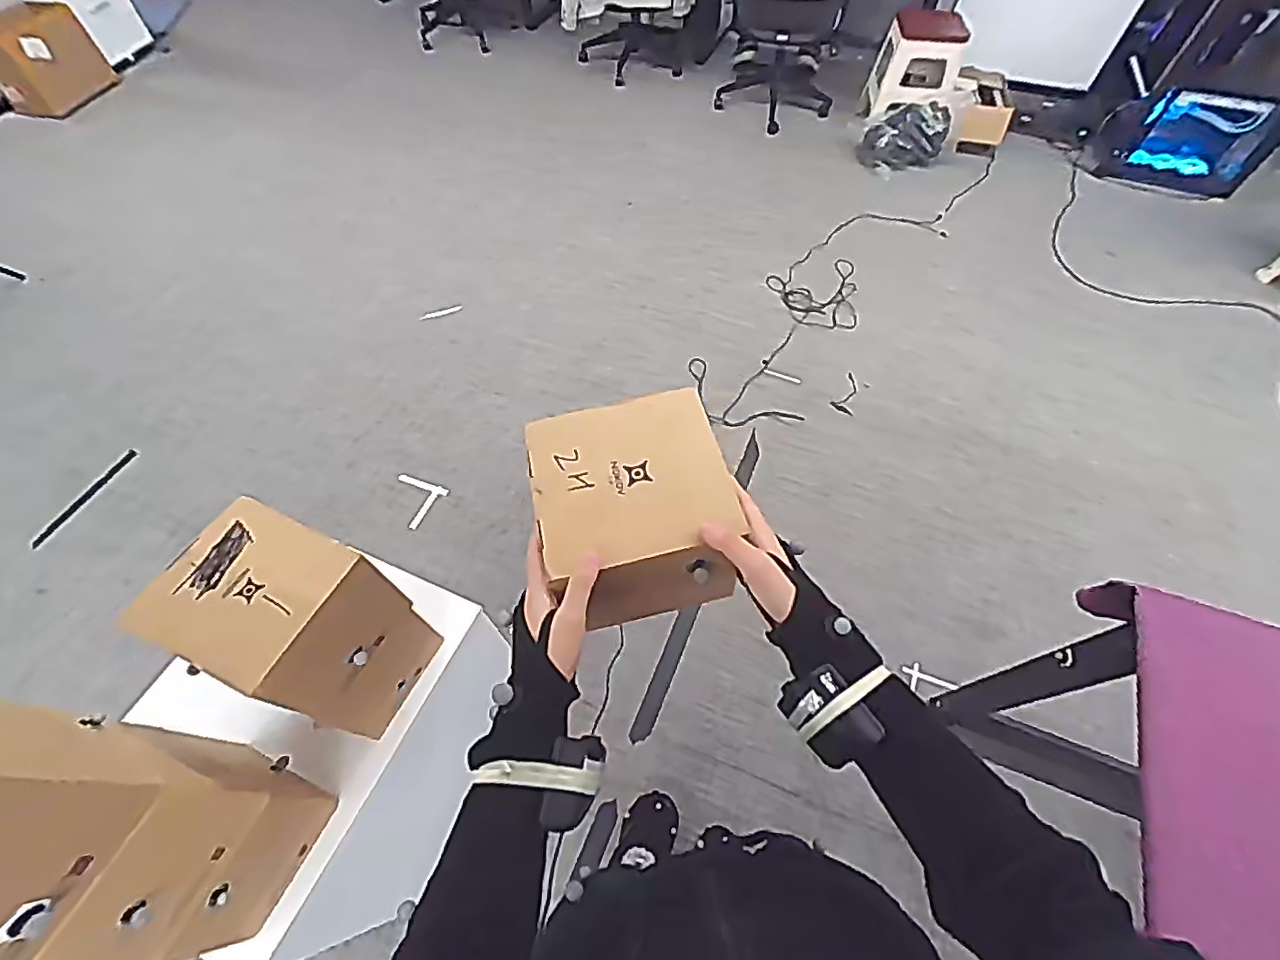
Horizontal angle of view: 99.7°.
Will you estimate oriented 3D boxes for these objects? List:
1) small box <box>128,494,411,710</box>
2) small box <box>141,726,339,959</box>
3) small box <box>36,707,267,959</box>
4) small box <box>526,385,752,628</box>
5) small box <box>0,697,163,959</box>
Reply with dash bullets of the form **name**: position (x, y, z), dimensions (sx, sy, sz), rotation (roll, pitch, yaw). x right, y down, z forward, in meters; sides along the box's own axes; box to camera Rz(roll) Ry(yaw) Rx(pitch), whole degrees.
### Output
- **small box**: position (-0.410, 0.150, 0.634), dimensions (0.179, 0.176, 0.168), rotation (23, 62, 12)
- **small box**: position (-0.519, 0.428, 0.656), dimensions (0.179, 0.176, 0.168), rotation (20, 61, 13)
- **small box**: position (-0.517, 0.342, 0.518), dimensions (0.179, 0.176, 0.168), rotation (19, 60, 12)
- **small box**: position (-0.003, 0.034, 0.549), dimensions (0.179, 0.176, 0.168), rotation (-13, 59, -3)
- **small box**: position (-0.518, 0.255, 0.381), dimensions (0.179, 0.176, 0.168), rotation (19, 61, 11)
